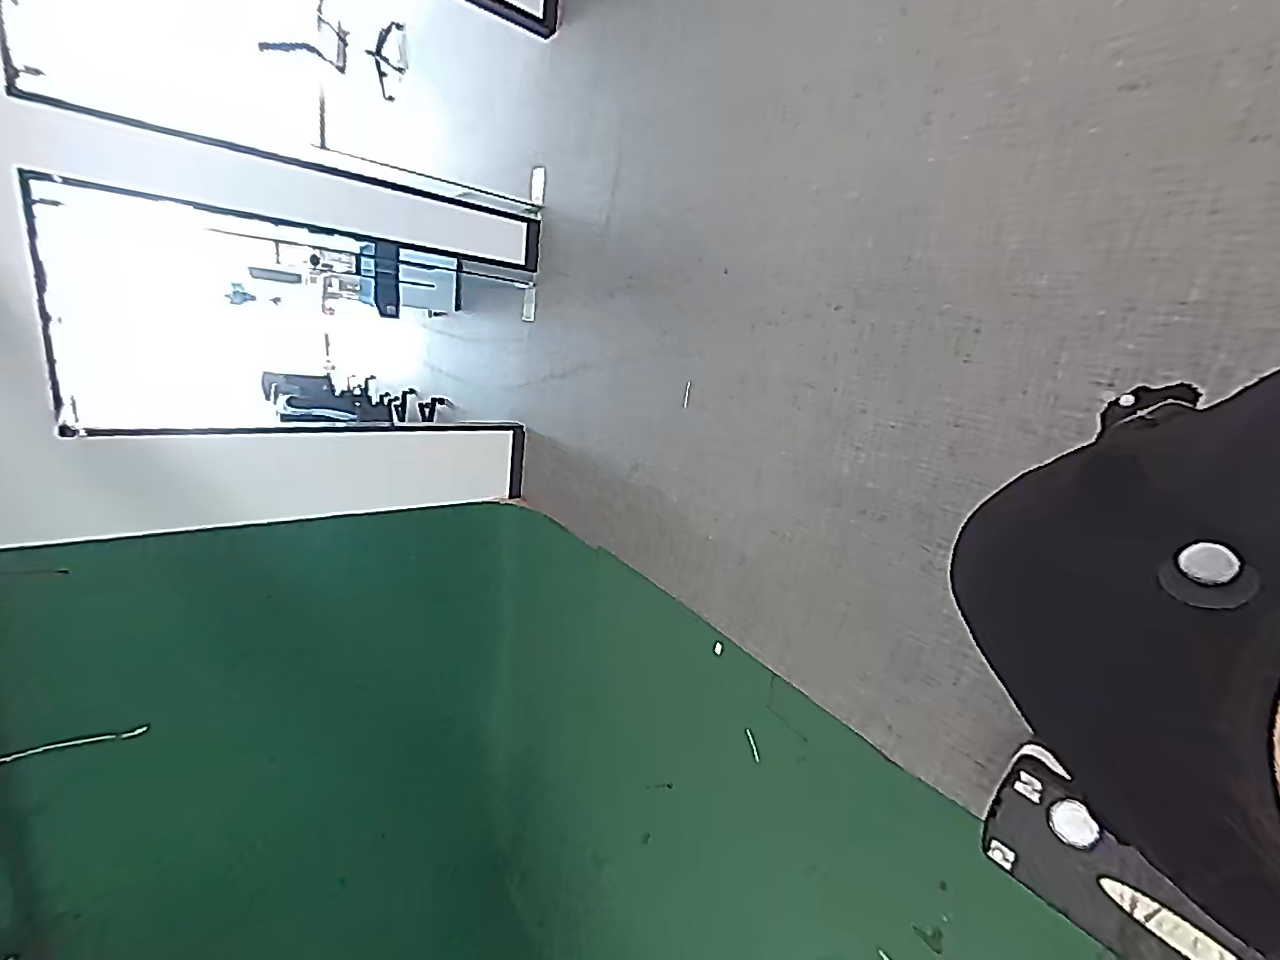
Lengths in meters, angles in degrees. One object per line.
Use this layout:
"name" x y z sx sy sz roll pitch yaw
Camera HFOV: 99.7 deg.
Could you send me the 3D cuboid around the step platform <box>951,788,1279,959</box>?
"step platform" 0.937 0.877 0.915 0.684 0.204 0.286 25 113 47
